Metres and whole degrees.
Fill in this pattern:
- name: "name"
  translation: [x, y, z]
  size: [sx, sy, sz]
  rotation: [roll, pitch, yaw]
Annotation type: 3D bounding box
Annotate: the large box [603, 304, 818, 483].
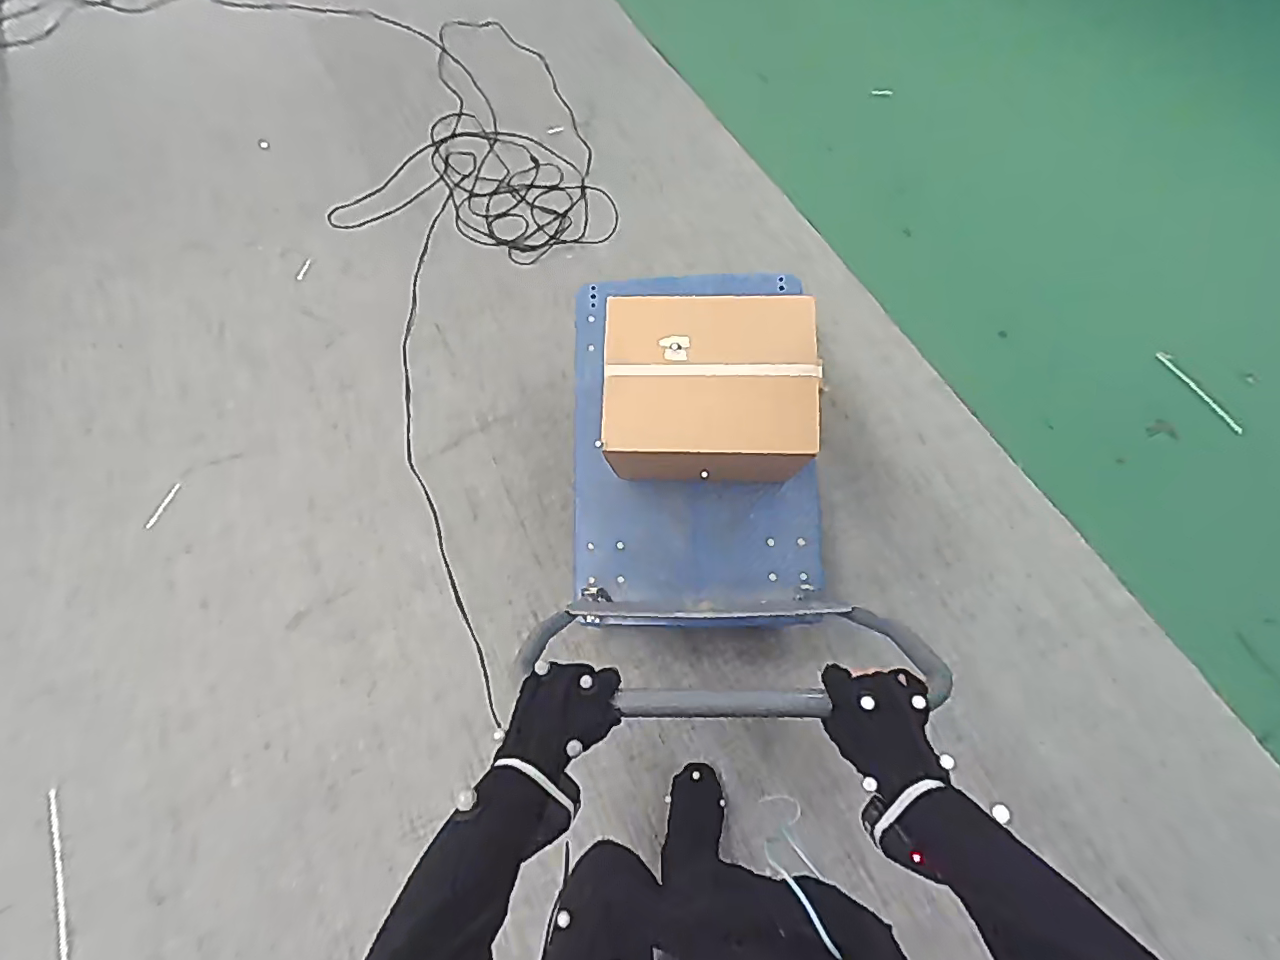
- name: "large box"
  translation: [0.145, -0.164, 1.174]
  size: [0.408, 0.320, 0.320]
  rotation: [1, 80, 5]
